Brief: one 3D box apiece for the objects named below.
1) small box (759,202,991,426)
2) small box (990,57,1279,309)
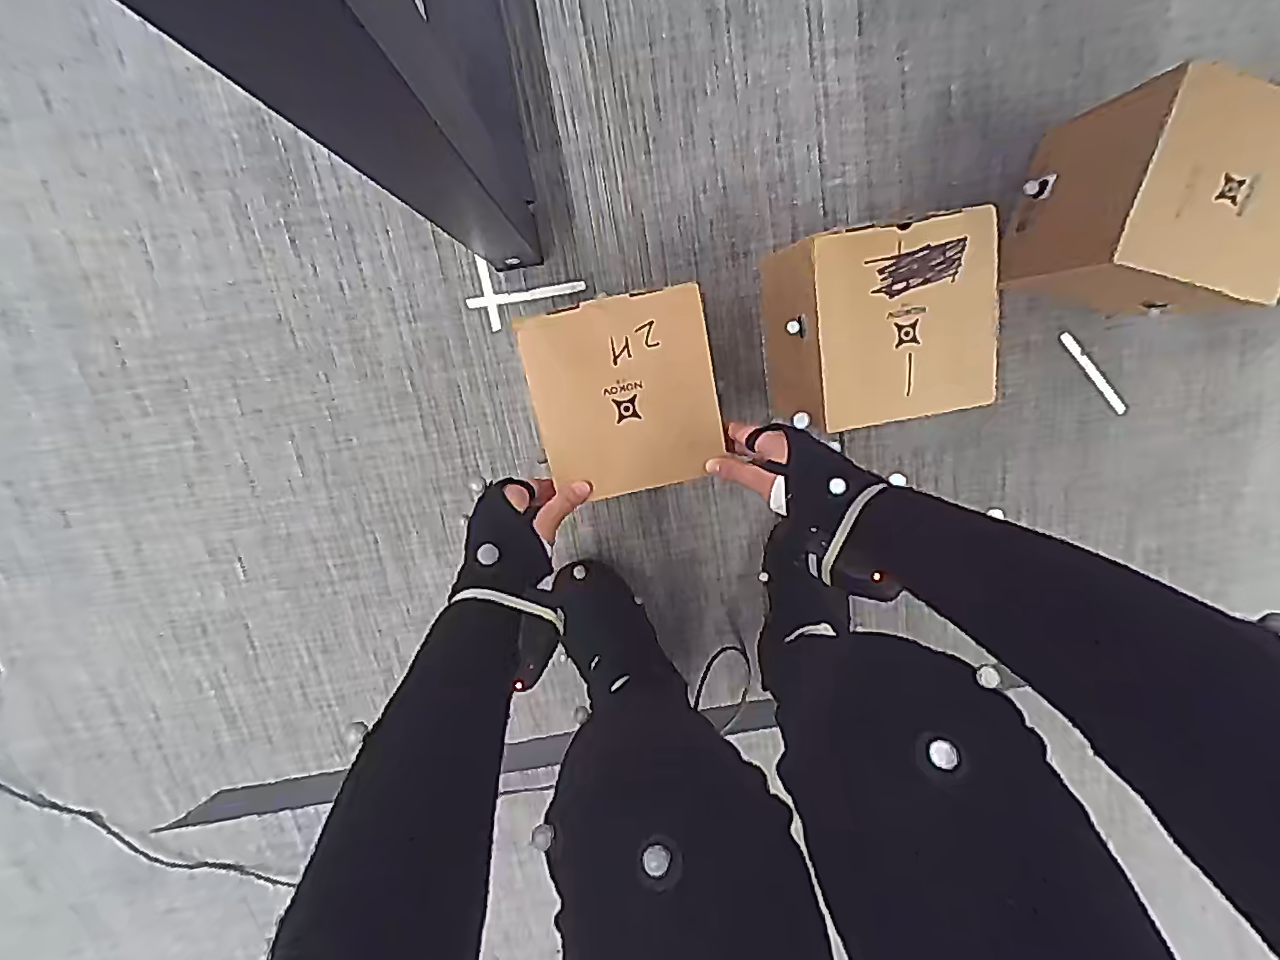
[{"bbox_3d":[0.230,-0.166,0.565,0.168,0.176,0.179,-10,106,-1],"label":"small box"},{"bbox_3d":[0.511,-0.279,0.555,0.179,0.176,0.168,12,103,-6],"label":"small box"}]
